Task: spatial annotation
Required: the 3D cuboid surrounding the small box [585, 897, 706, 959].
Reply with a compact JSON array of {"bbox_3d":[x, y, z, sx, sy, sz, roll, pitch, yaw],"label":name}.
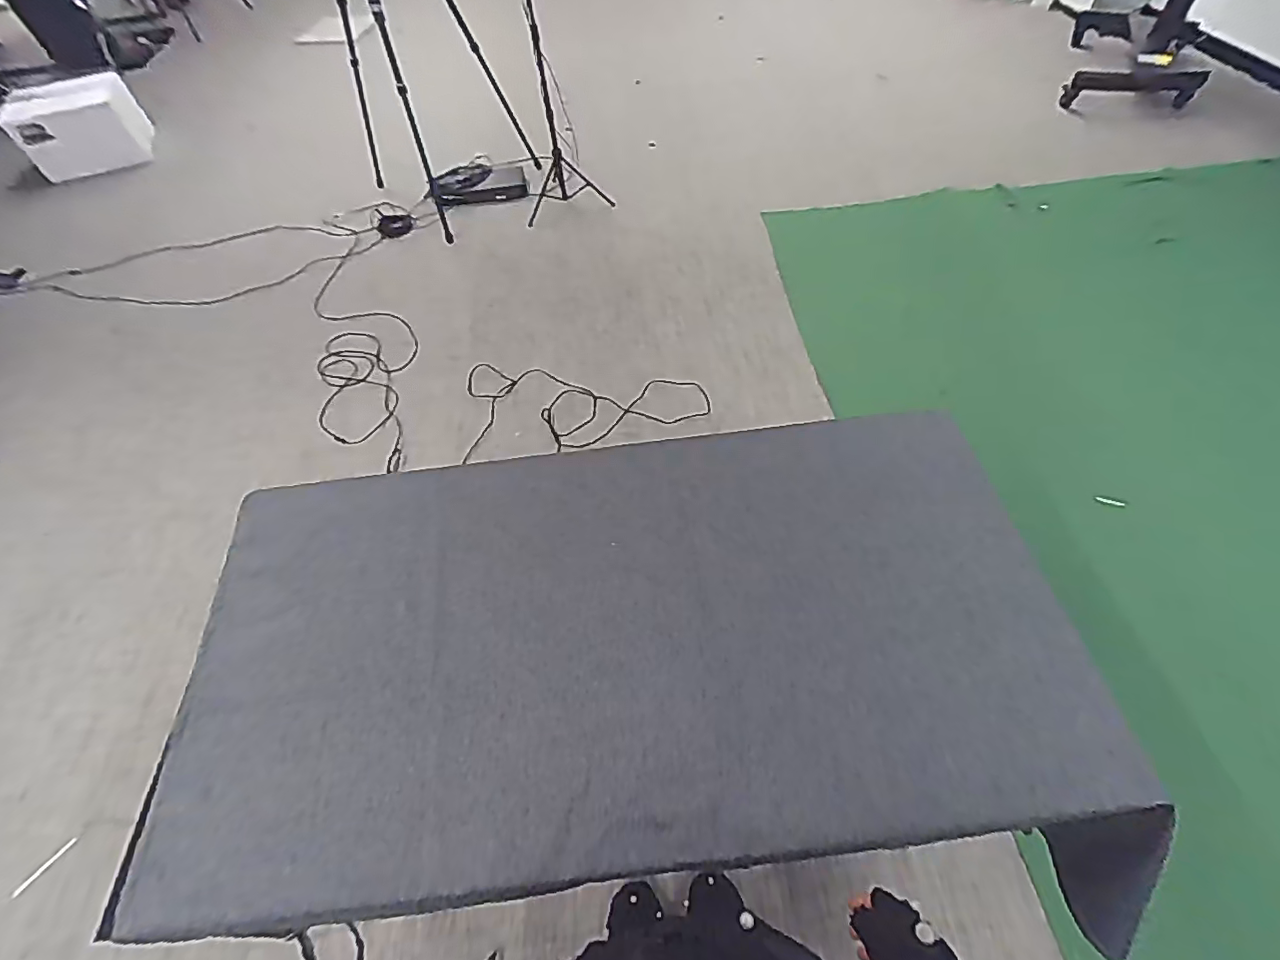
[{"bbox_3d":[-0.001,0.951,1.045,0.179,0.176,0.168,16,67,35],"label":"small box"}]
